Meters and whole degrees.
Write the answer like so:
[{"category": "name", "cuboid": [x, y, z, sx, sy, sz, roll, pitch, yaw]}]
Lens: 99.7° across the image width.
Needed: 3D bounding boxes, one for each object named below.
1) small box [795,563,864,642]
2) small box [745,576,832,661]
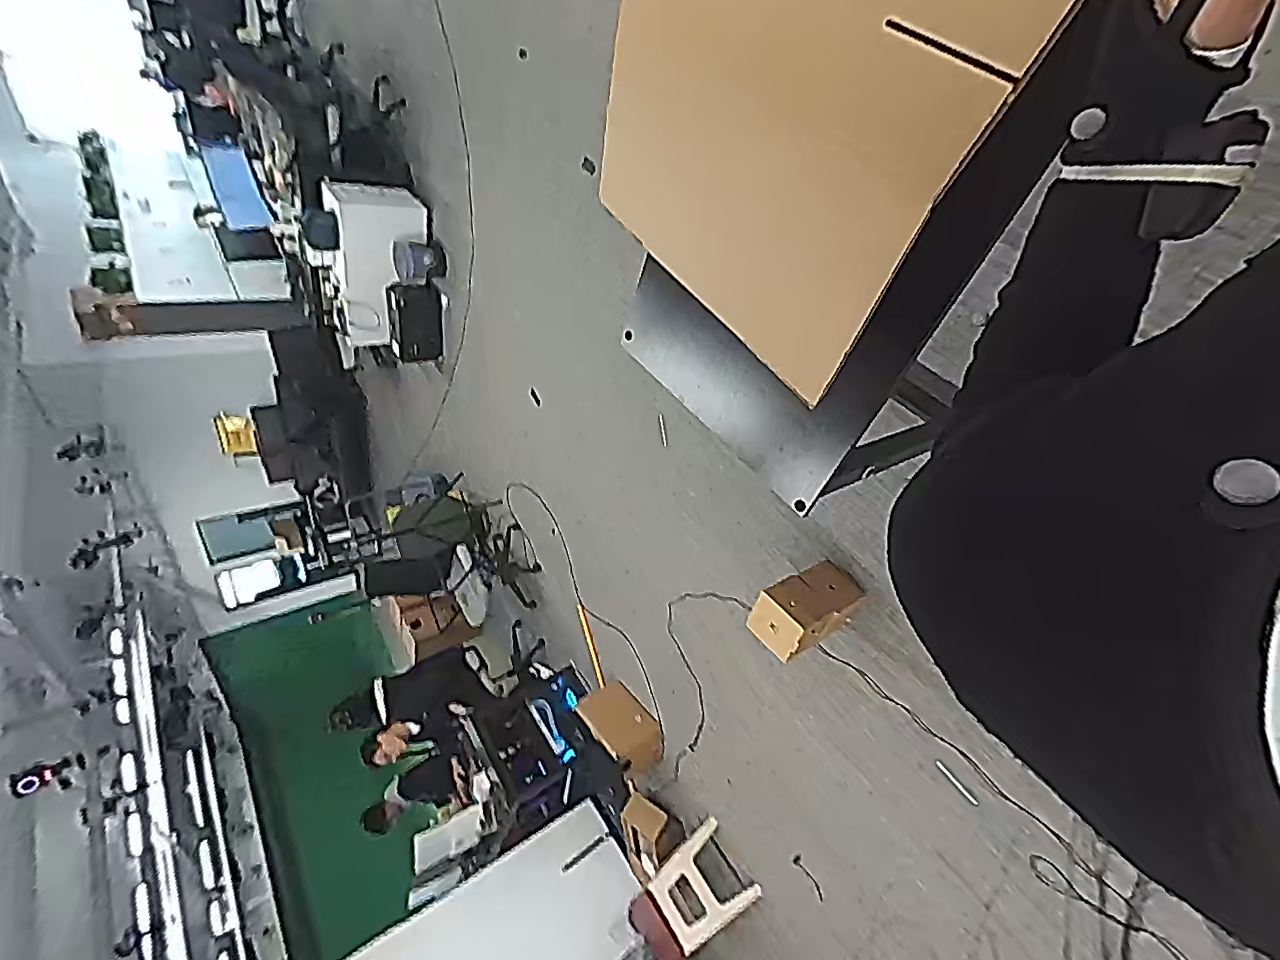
[{"category": "small box", "cuboid": [0.601, 0.398, 1.801, 0.179, 0.176, 0.168, 46, 135, 32]}, {"category": "small box", "cuboid": [0.471, 0.431, 1.710, 0.179, 0.176, 0.168, 44, 134, 36]}]
